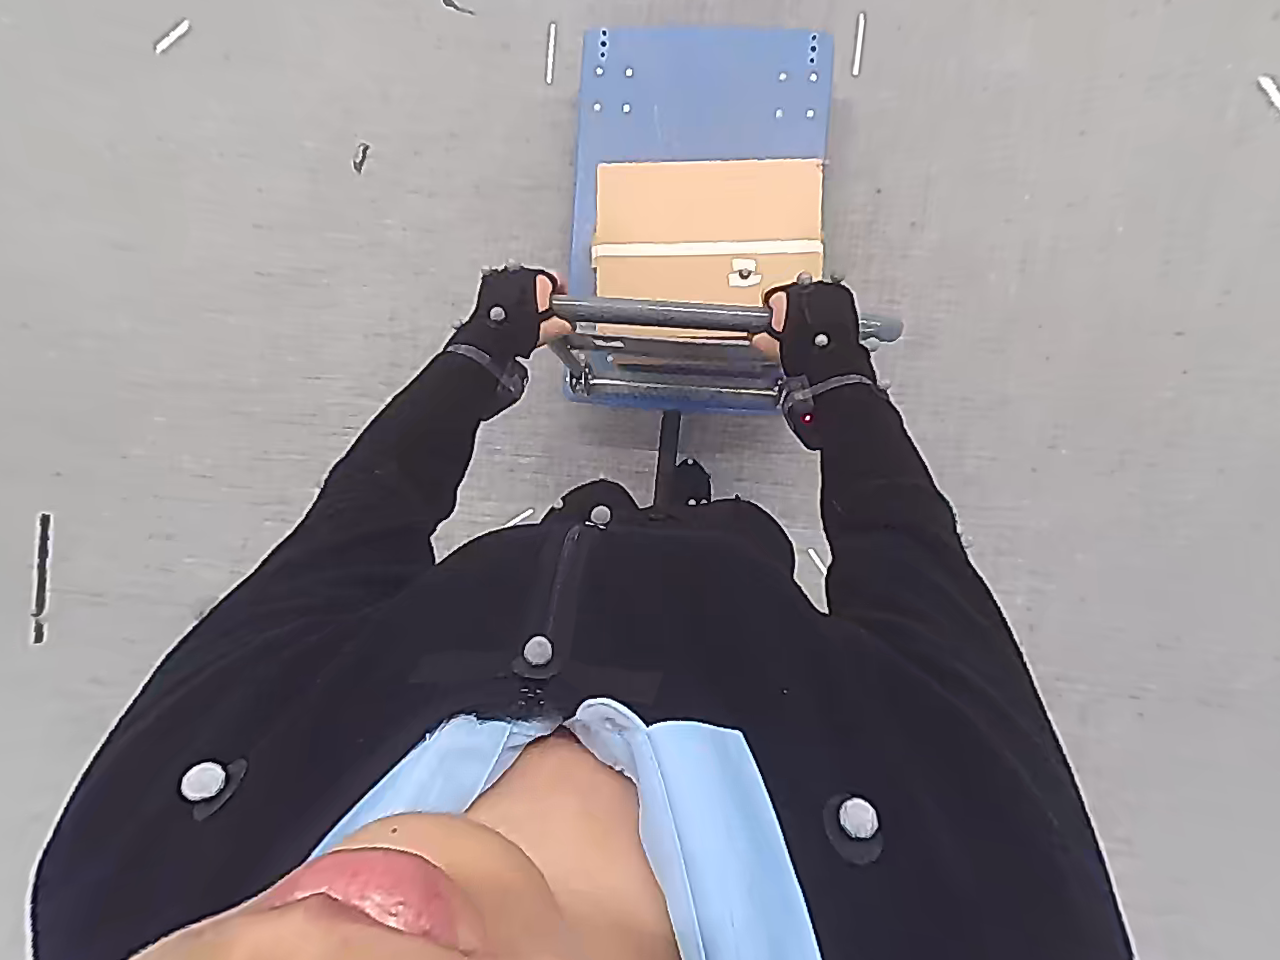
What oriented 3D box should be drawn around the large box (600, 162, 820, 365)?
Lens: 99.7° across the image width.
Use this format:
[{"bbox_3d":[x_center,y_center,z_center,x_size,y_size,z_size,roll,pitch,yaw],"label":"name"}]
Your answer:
[{"bbox_3d":[0.132,-0.425,1.138,0.408,0.320,0.320,0,93,3],"label":"large box"}]
